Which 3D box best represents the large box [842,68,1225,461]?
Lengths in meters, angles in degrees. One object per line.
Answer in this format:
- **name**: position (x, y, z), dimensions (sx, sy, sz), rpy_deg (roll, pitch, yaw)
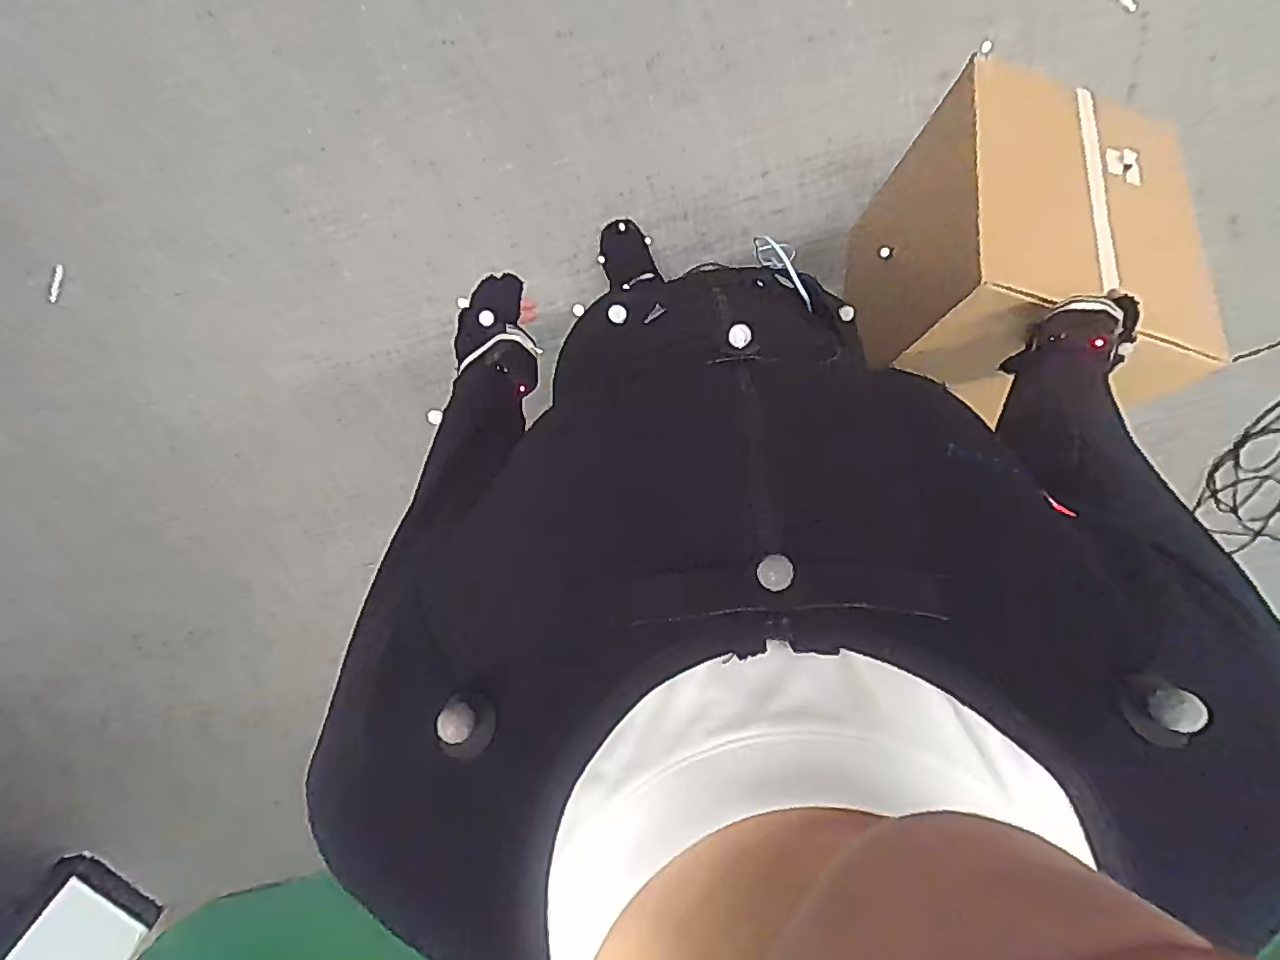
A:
- **large box**: position (0.526, -0.291, 0.807), dimensions (0.320, 0.408, 0.320), rpy_deg (15, 157, -6)
